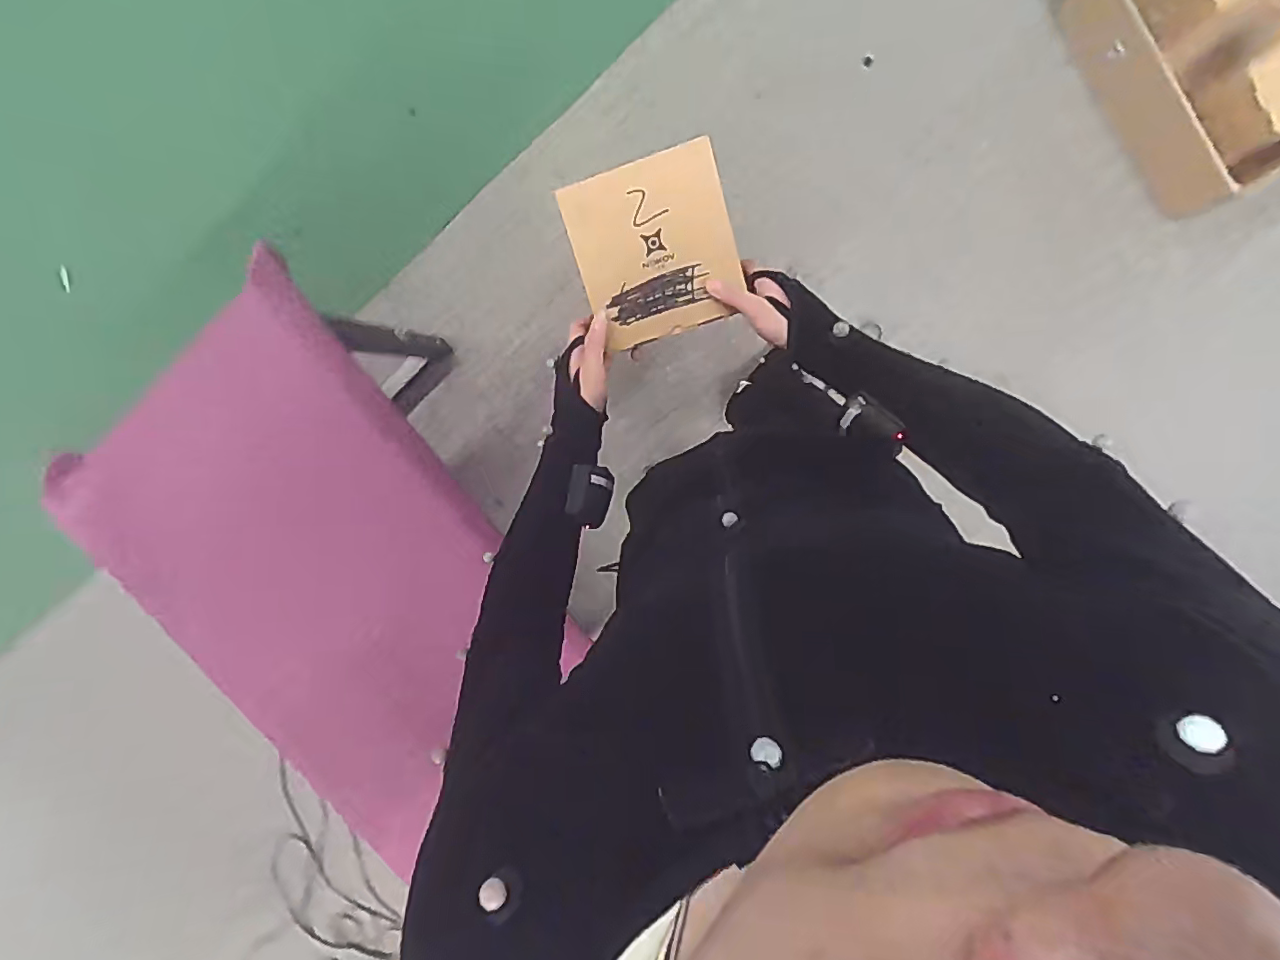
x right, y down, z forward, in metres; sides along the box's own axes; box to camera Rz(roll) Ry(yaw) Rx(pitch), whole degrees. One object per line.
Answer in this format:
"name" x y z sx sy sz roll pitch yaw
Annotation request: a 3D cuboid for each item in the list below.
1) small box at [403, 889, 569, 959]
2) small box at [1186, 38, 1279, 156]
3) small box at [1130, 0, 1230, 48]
"small box" -0.194 0.616 0.597 0.179 0.176 0.168 -41 94 12
"small box" 1.399 -0.871 1.201 0.179 0.176 0.168 -33 95 10
"small box" 1.237 -1.112 1.175 0.179 0.176 0.168 -34 95 9
